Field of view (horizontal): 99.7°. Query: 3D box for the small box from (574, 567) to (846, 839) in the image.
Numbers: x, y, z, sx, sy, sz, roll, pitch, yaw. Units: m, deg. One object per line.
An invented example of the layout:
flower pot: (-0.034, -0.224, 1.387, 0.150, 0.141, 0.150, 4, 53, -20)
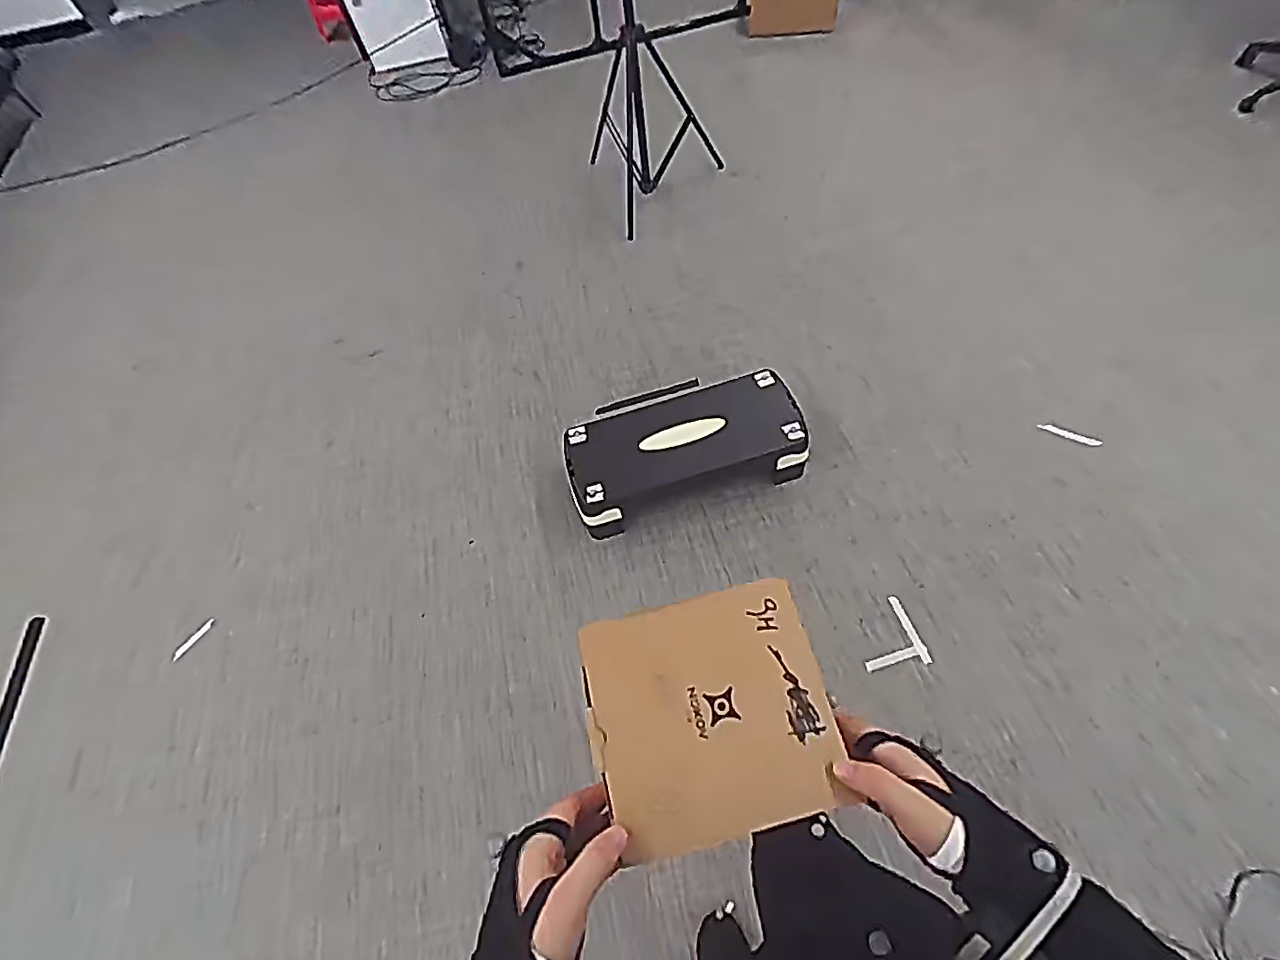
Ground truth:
small box: (0.050, 0.195, 0.486, 0.179, 0.176, 0.168, -13, 66, -4)

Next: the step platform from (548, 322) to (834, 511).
step platform: (0.123, -0.156, 1.385, 0.684, 0.204, 0.286, -17, 59, -3)
